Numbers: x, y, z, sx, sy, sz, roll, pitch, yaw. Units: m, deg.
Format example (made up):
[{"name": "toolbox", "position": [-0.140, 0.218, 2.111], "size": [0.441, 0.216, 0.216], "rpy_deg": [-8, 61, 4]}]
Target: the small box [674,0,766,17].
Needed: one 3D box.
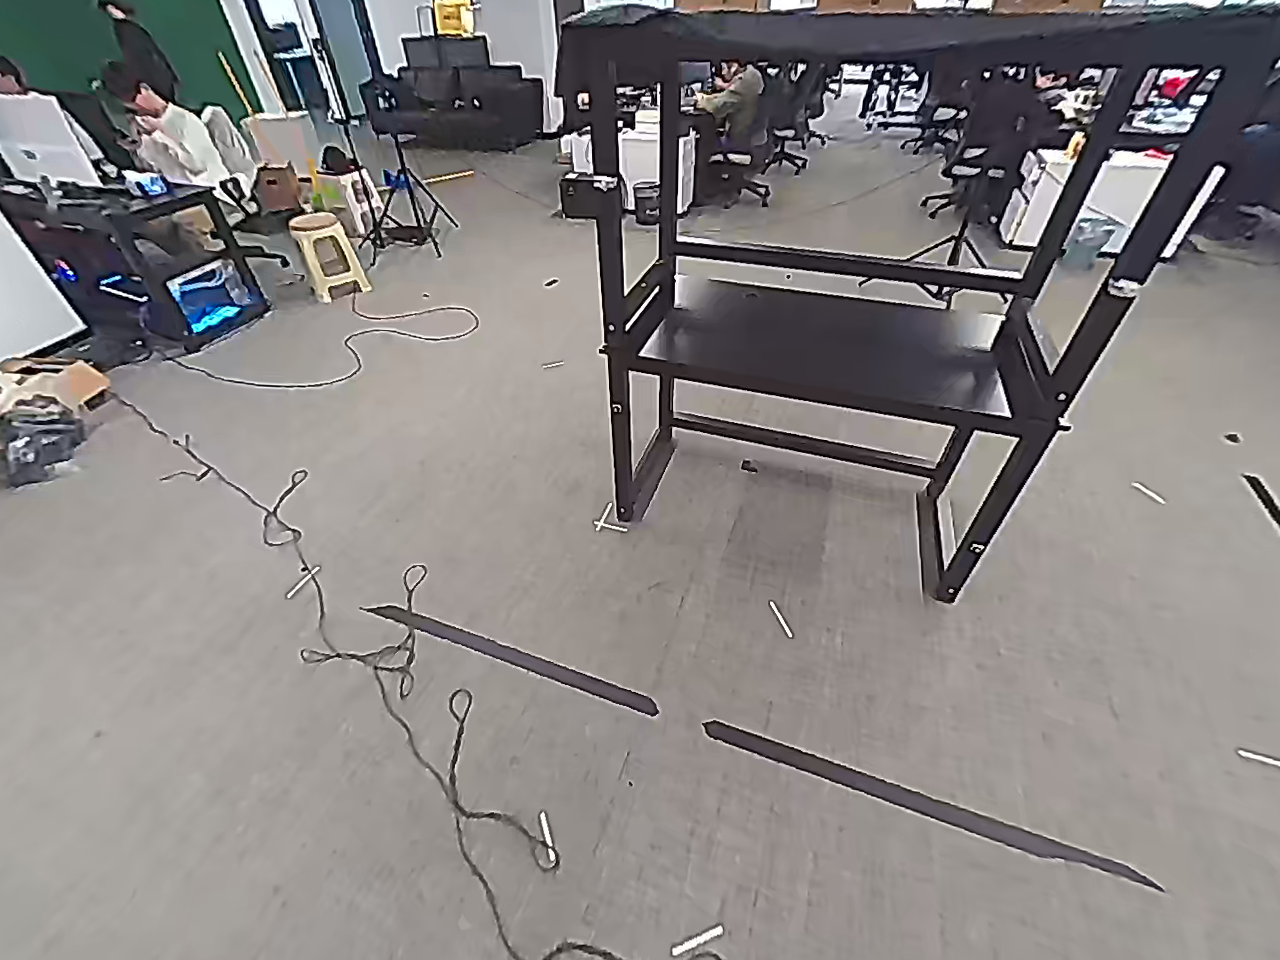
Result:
[{"name": "small box", "position": [0.166, -1.023, 1.058], "size": [0.168, 0.176, 0.179], "rpy_deg": [13, 42, 14]}]

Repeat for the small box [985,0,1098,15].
[{"name": "small box", "position": [0.708, -0.905, 0.916], "size": [0.168, 0.176, 0.179], "rpy_deg": [16, 43, 18]}]

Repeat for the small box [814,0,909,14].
[{"name": "small box", "position": [0.425, -0.967, 0.989], "size": [0.168, 0.176, 0.179], "rpy_deg": [13, 42, 16]}]
